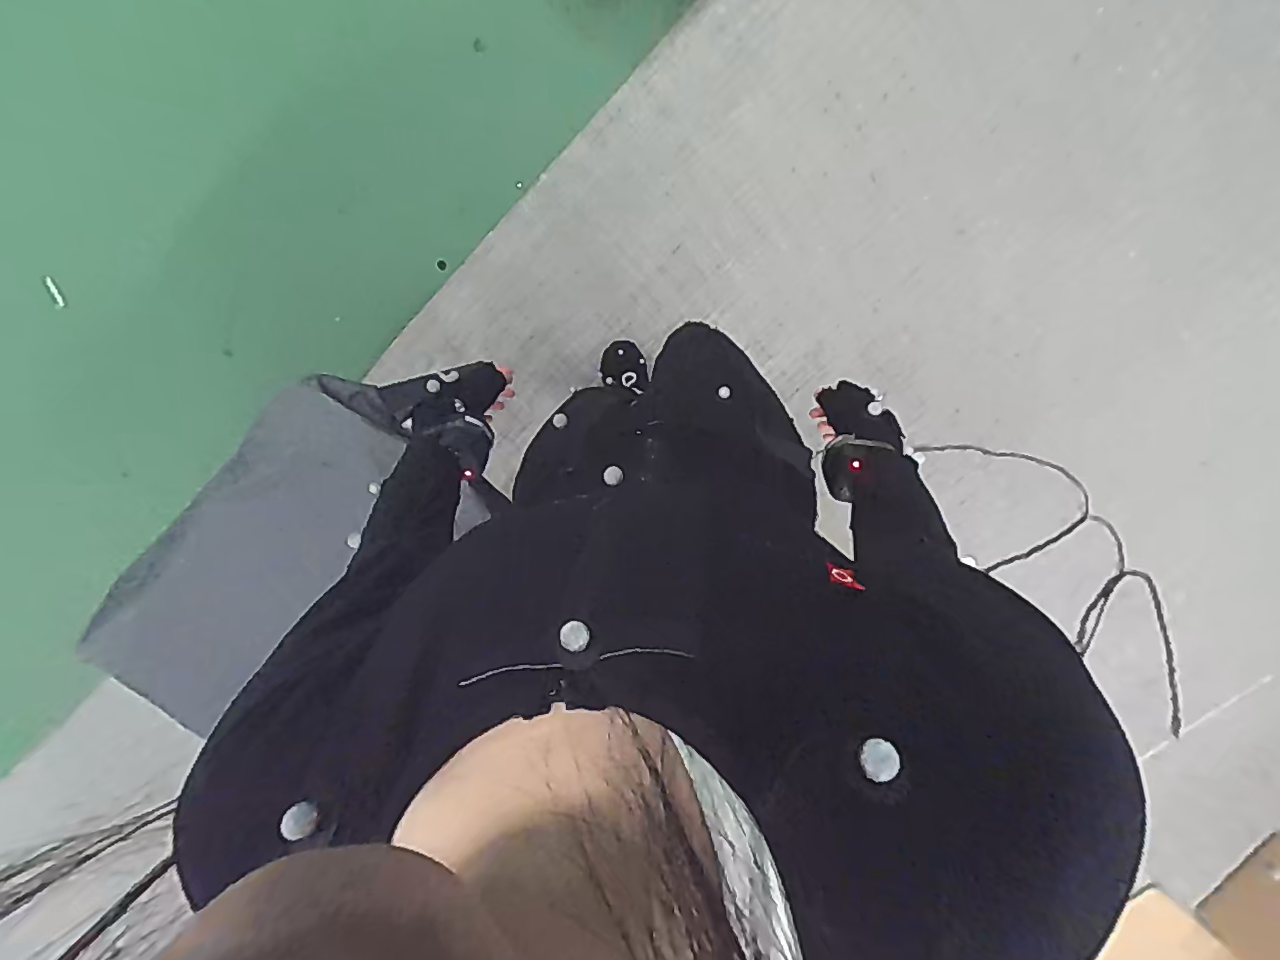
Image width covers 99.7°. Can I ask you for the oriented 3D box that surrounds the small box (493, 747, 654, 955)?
[{"bbox_3d":[-0.092,0.566,0.840,0.179,0.176,0.168,-42,102,11],"label":"small box"}]
